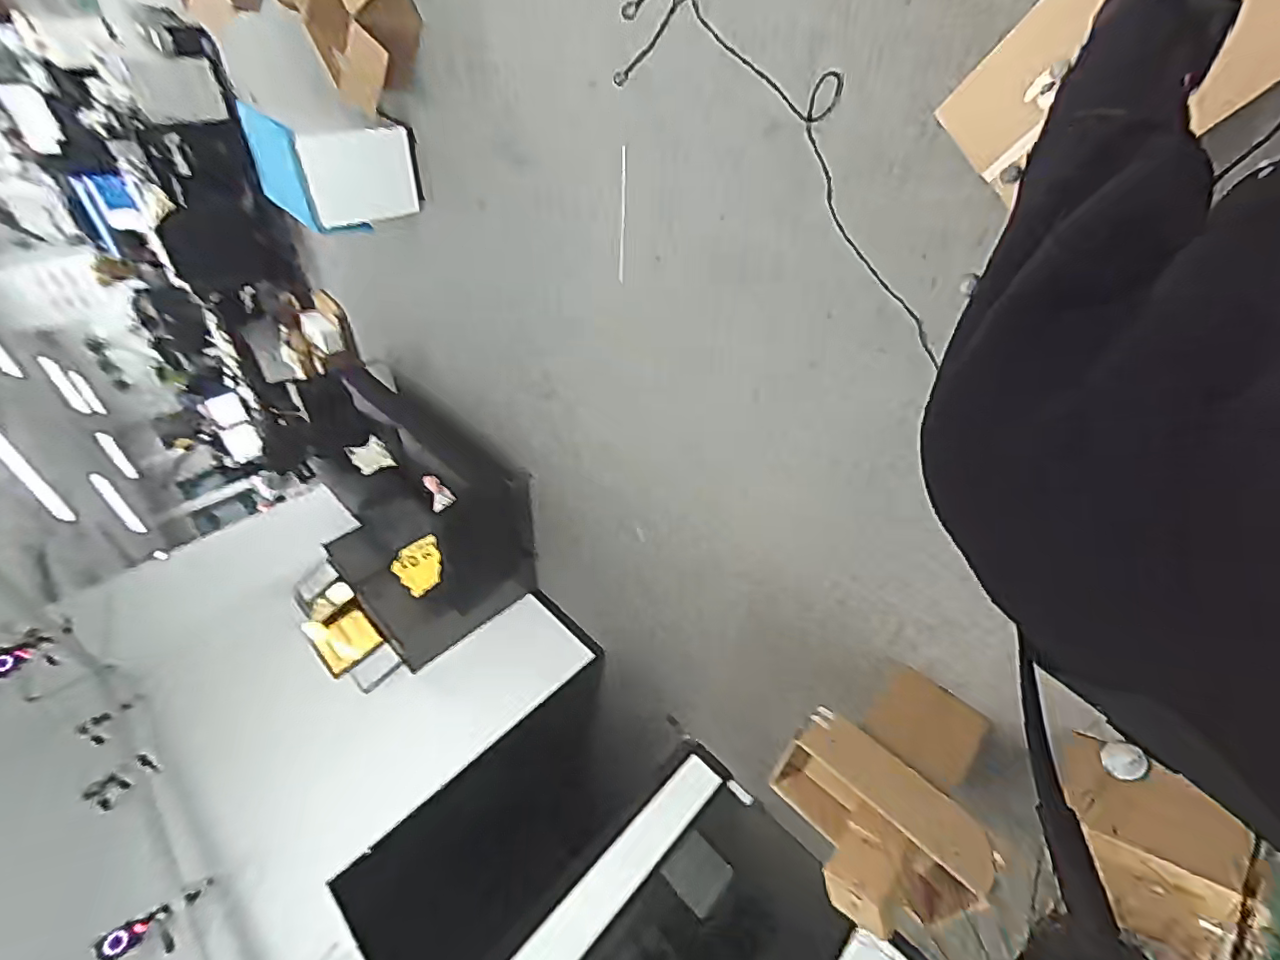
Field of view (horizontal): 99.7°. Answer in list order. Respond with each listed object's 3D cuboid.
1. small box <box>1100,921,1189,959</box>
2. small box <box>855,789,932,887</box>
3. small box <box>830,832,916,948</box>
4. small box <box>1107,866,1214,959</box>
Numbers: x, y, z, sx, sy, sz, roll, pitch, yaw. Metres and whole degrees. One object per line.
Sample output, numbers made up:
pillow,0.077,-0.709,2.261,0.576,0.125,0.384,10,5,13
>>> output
small box,1.128,1.149,1.196,0.168,0.176,0.179,7,120,48
small box,0.798,1.122,1.697,0.168,0.176,0.179,13,126,47
small box,0.693,1.203,1.599,0.168,0.176,0.179,5,120,50
small box,1.246,1.089,1.293,0.168,0.176,0.179,1,116,50
